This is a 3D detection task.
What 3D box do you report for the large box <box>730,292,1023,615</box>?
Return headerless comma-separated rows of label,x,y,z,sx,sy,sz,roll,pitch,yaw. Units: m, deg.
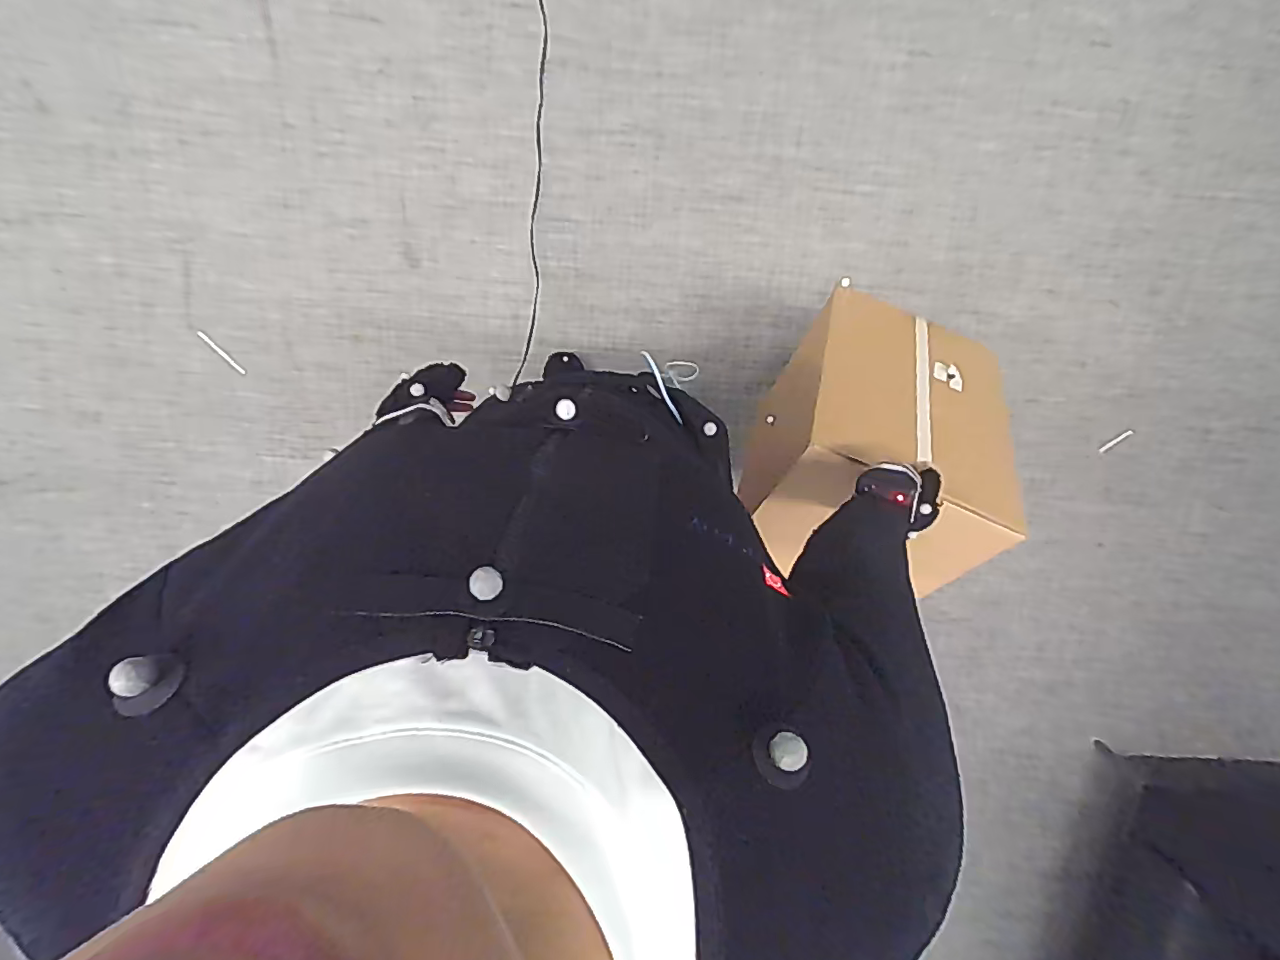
large box,0.384,-0.043,0.944,0.320,0.408,0.320,24,142,-1
